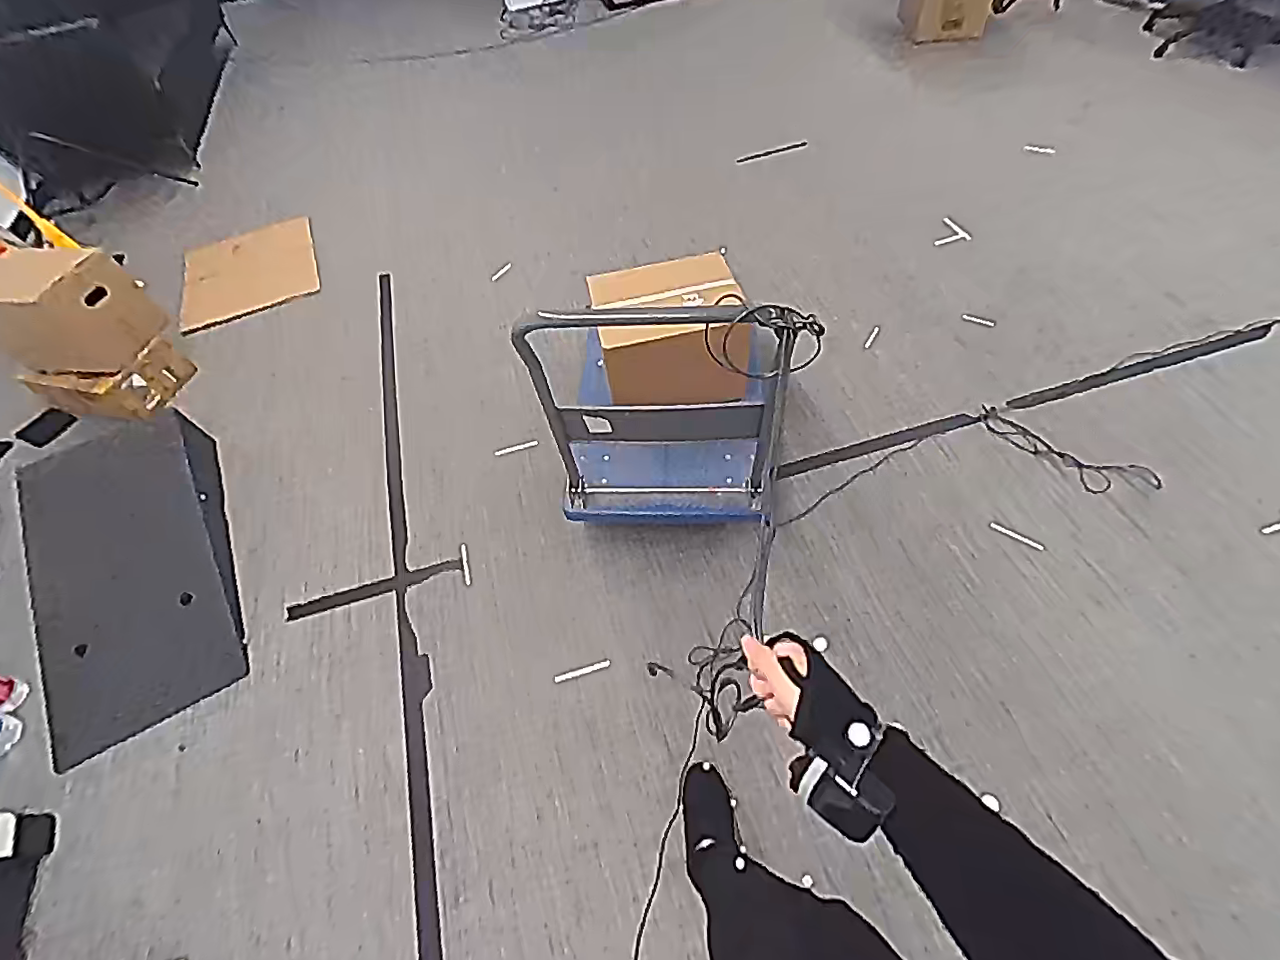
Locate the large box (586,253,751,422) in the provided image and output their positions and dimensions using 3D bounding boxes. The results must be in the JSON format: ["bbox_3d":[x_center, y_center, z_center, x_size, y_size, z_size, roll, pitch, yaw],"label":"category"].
[{"bbox_3d":[0.077,-0.415,1.599,0.408,0.320,0.320,-12,57,-3],"label":"large box"}]
